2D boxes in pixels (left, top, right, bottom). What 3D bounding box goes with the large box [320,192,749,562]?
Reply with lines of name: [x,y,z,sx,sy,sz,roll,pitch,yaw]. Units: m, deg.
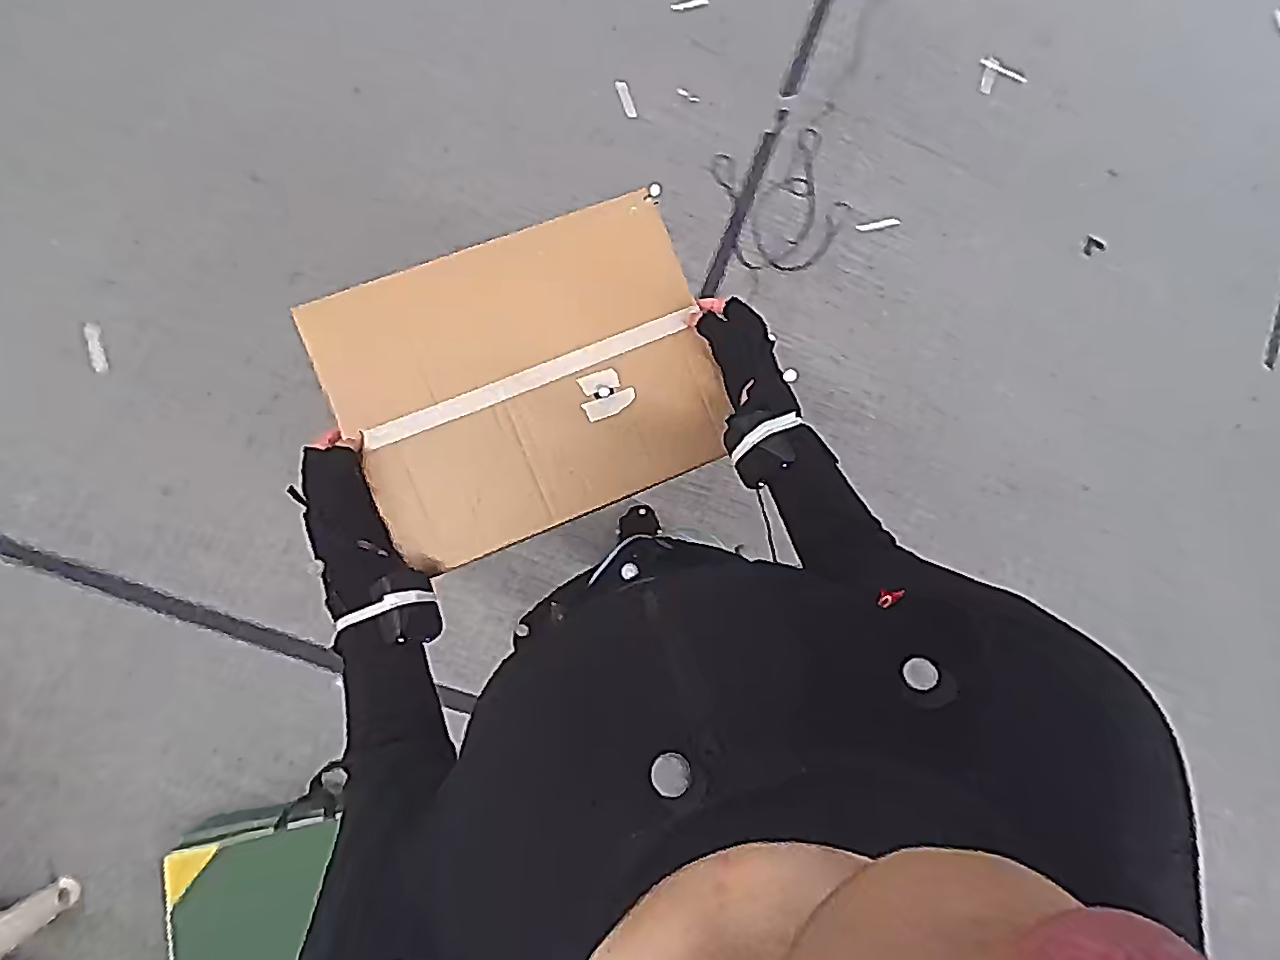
large box: [-0.127,-0.114,0.749,0.408,0.320,0.320,-21,90,-7]
